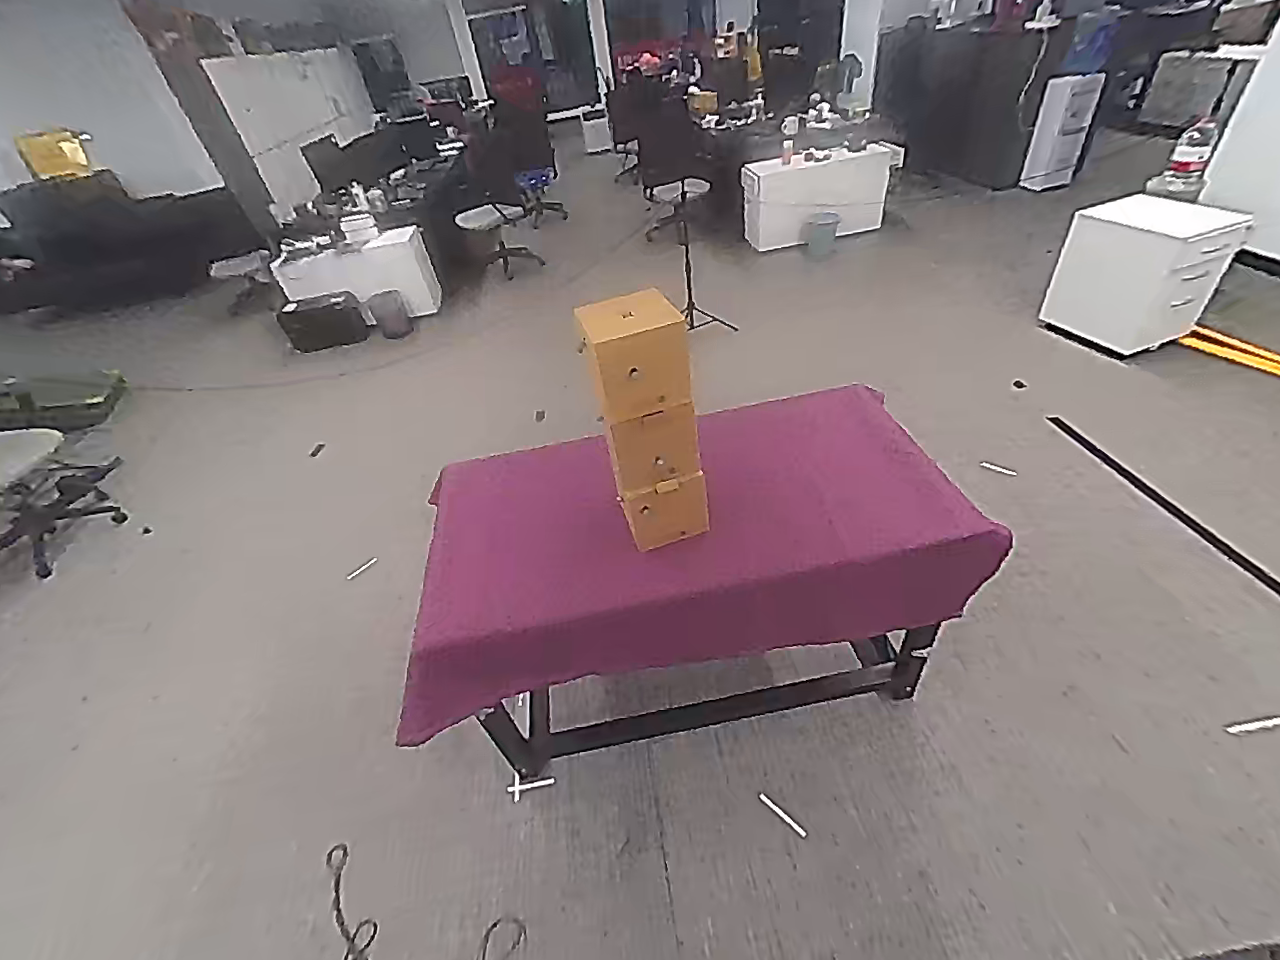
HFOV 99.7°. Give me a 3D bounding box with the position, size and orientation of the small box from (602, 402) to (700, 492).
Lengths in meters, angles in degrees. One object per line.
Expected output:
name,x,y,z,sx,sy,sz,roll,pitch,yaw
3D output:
small box,0.018,-0.104,1.121,0.168,0.176,0.179,-16,40,-5

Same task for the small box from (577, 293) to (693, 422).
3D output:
small box,-0.007,-0.225,1.016,0.168,0.176,0.179,-17,39,-8
